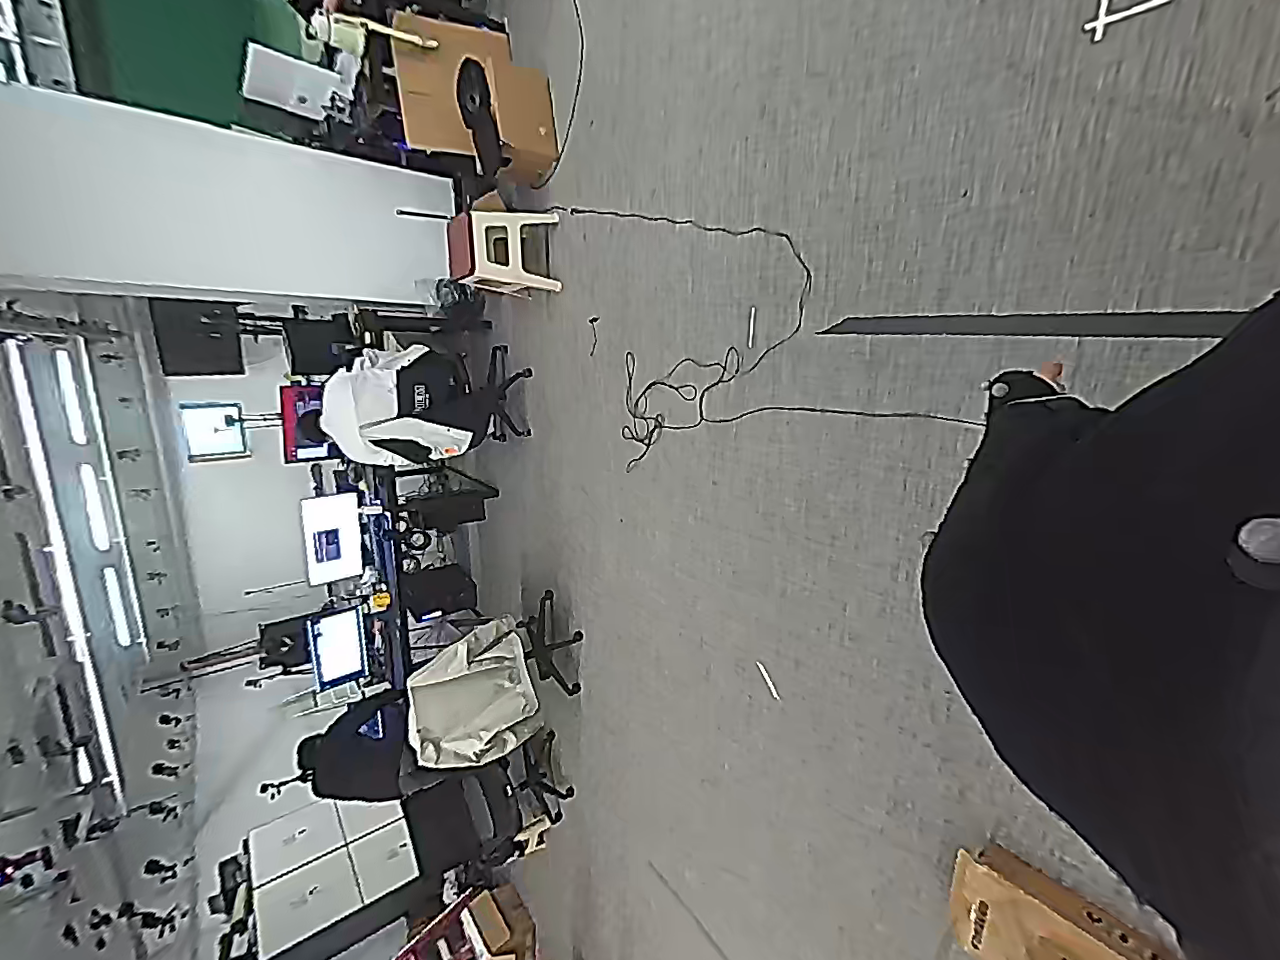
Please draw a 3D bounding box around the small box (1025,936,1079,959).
[{"bbox_3d":[0.974,1.226,1.245,0.168,0.176,0.179,17,111,50],"label":"small box"}]
